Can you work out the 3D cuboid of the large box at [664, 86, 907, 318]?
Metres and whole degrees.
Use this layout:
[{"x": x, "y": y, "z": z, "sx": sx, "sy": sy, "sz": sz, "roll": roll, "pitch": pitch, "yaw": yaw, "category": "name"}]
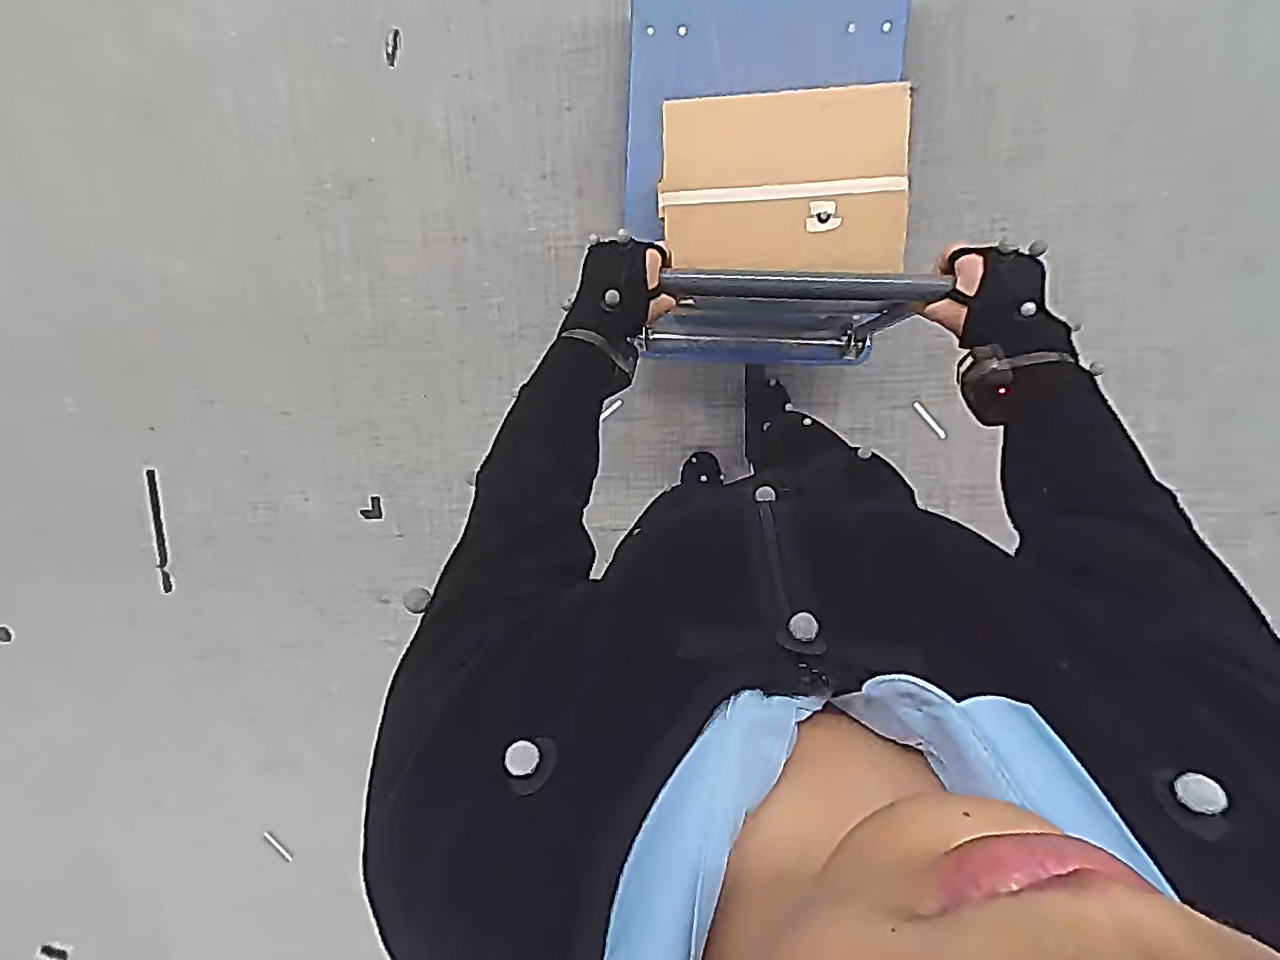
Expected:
[{"x": 0.258, "y": -0.511, "z": 1.071, "sx": 0.408, "sy": 0.320, "sz": 0.320, "roll": -1, "pitch": 100, "yaw": 5, "category": "large box"}]
